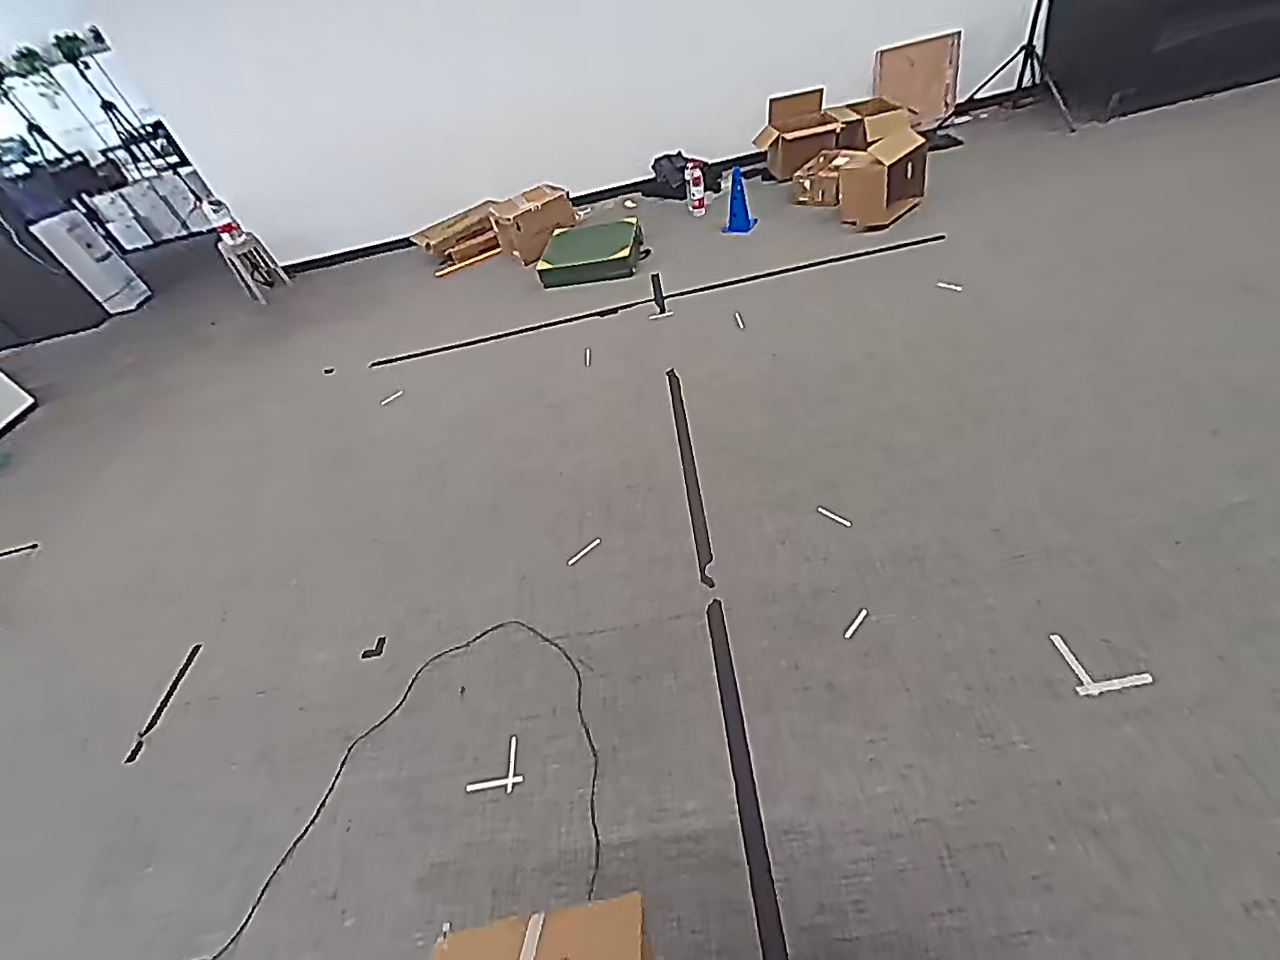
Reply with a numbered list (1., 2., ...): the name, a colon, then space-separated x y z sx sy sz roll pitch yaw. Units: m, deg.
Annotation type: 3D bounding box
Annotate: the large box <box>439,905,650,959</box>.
1. large box: -0.118 0.806 0.607 0.320 0.408 0.320 -12 87 1
